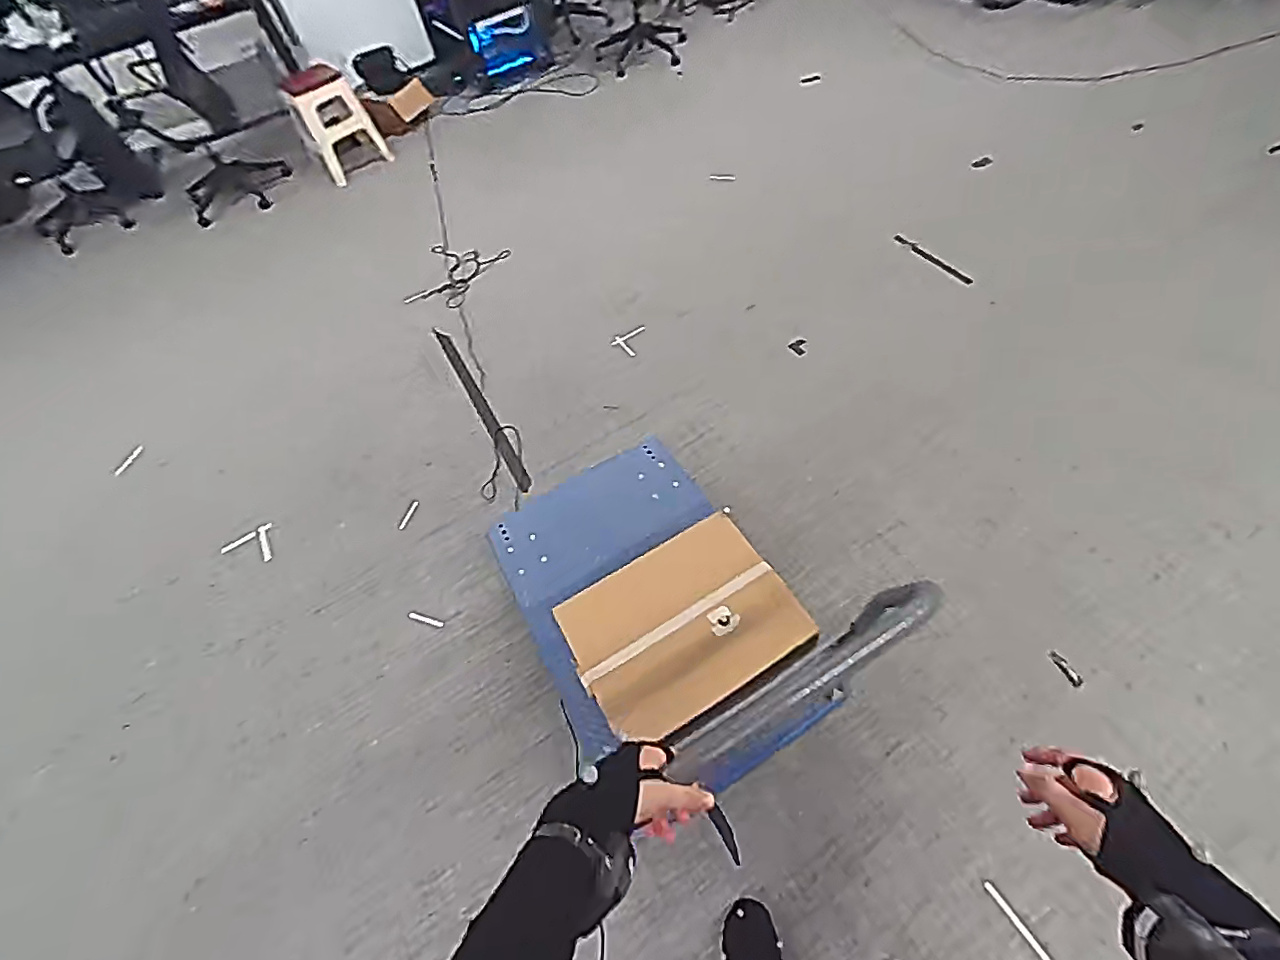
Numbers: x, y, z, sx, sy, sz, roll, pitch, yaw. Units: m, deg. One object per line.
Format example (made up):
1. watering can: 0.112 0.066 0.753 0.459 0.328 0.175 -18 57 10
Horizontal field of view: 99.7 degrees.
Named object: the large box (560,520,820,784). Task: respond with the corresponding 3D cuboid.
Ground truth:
1. large box: 0.101 0.364 1.135 0.408 0.320 0.320 -29 57 -11
